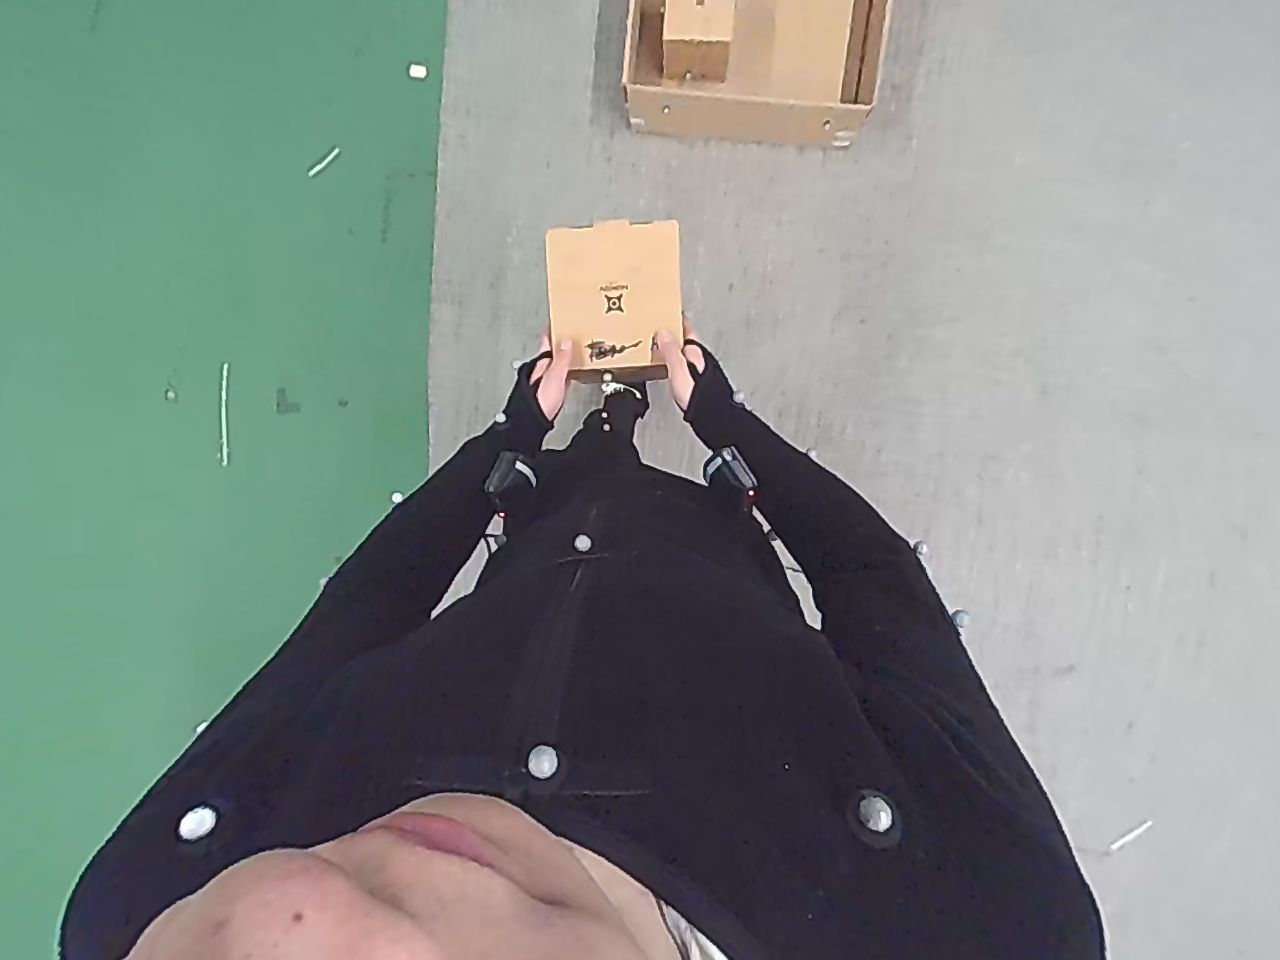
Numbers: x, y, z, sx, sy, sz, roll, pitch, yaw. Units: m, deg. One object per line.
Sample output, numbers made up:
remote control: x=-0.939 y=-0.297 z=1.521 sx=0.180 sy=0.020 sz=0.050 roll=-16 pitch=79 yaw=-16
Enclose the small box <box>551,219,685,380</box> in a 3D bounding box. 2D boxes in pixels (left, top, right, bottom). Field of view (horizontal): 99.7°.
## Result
small box: x=-0.024 y=-0.236 z=0.747 sx=0.168 sy=0.176 sz=0.179 roll=-2 pitch=95 yaw=4
